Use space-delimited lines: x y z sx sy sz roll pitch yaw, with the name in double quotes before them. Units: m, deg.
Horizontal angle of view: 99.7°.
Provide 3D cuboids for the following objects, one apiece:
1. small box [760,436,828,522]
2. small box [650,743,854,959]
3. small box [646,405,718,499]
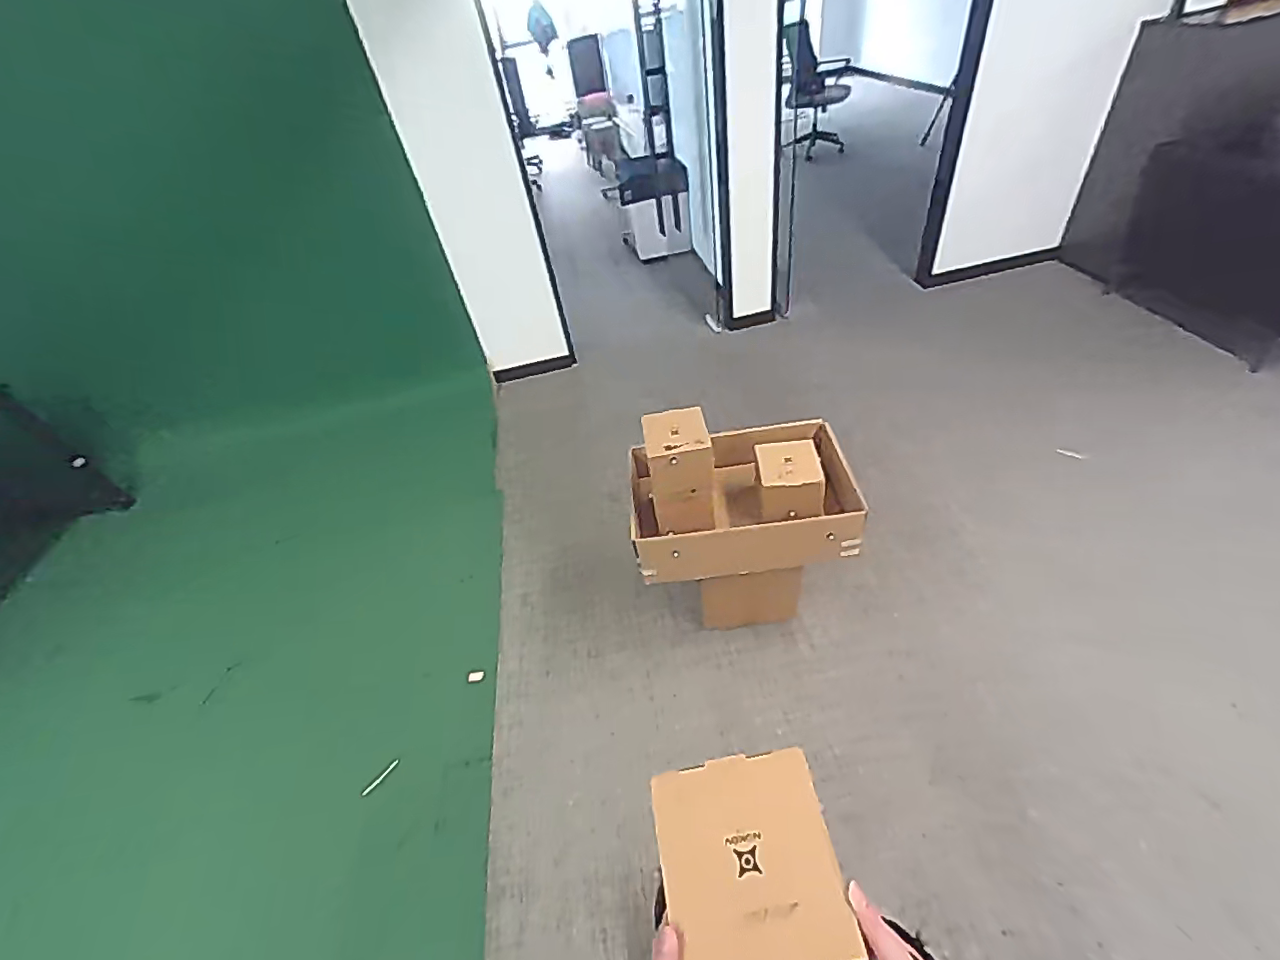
"small box" 0.434 -0.002 1.549 0.168 0.176 0.179 -6 45 9
"small box" 0.111 0.413 0.584 0.168 0.176 0.179 -12 46 3
"small box" 0.113 -0.075 1.467 0.168 0.176 0.179 -11 44 4
